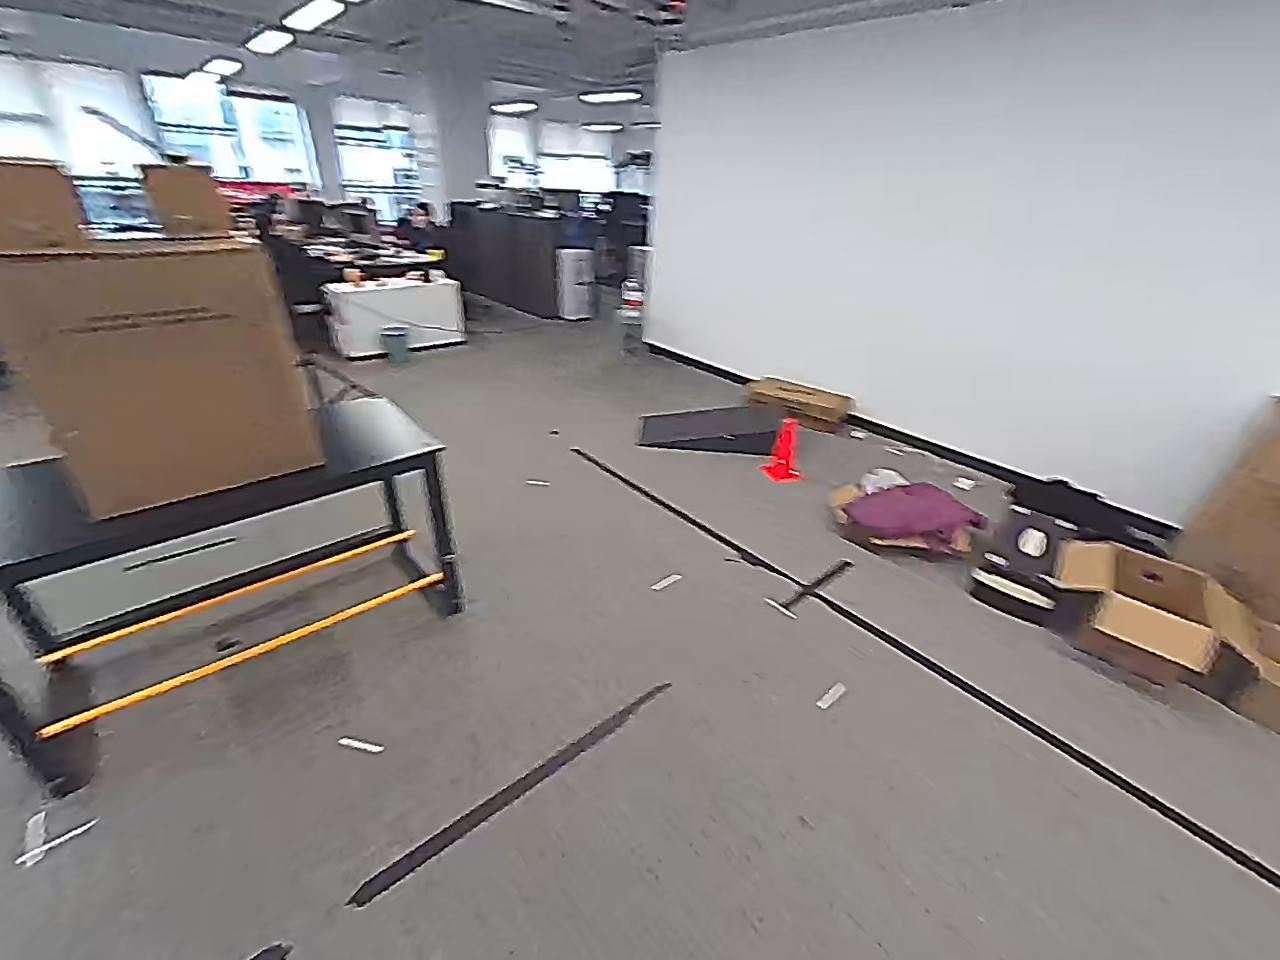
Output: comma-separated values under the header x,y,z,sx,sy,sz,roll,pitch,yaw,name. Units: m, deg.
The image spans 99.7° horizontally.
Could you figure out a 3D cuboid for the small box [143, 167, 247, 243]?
x,y,z,sx,sy,sz,roll,pitch,yaw,name
-1.168,-0.723,1.423,0.168,0.176,0.179,-22,36,-33,small box
